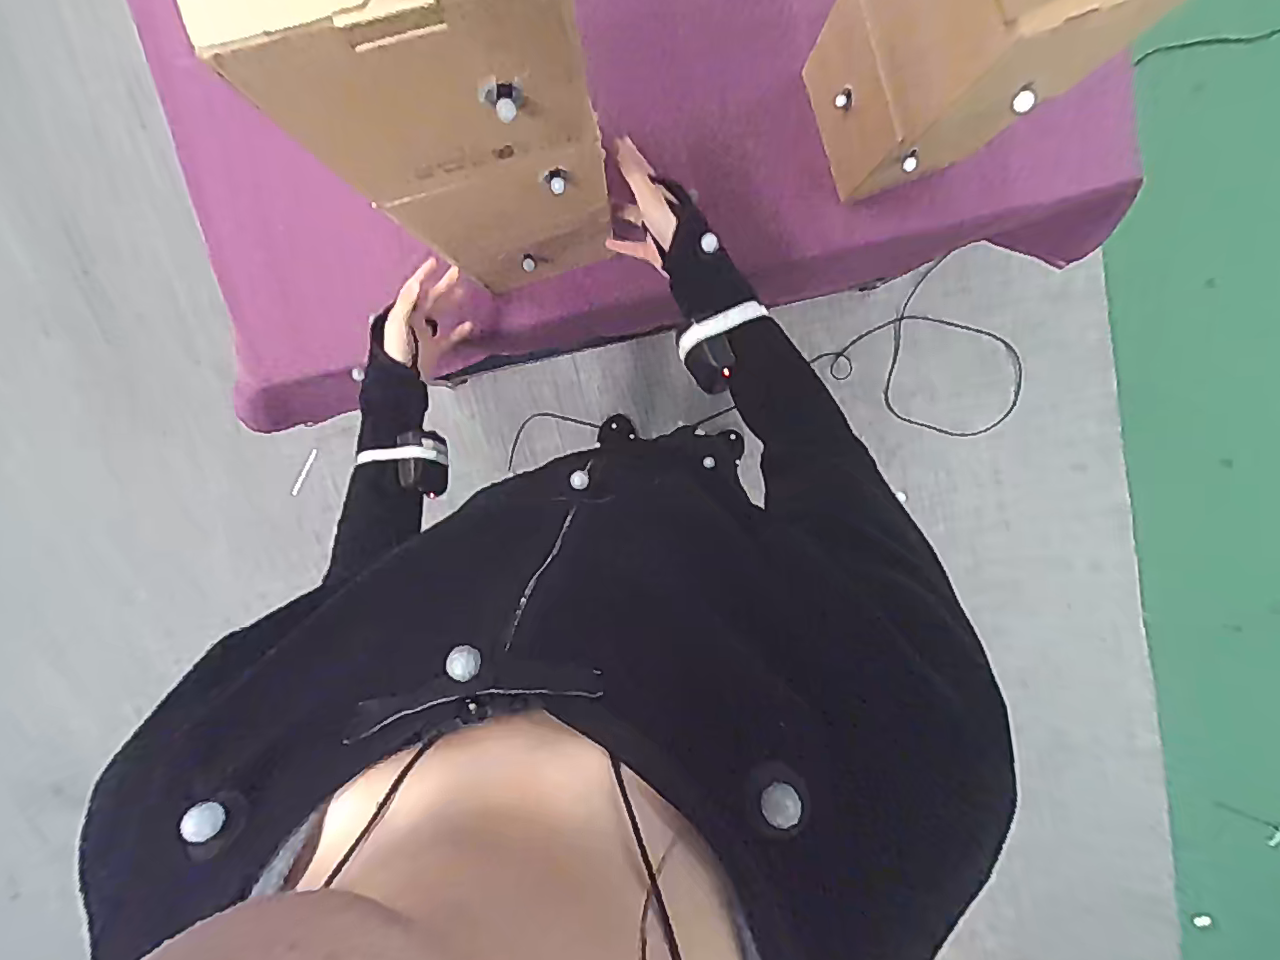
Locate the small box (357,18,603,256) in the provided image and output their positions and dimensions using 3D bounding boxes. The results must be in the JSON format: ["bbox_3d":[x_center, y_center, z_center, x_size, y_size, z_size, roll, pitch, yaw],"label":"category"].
[{"bbox_3d":[-0.138,-0.312,0.461,0.179,0.176,0.168,-16,98,0],"label":"small box"}]

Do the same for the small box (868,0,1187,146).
[{"bbox_3d":[0.311,-0.424,0.447,0.168,0.176,0.179,-19,97,3],"label":"small box"}]

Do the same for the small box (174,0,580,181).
[{"bbox_3d":[-0.134,-0.293,0.299,0.168,0.176,0.179,-13,97,-1],"label":"small box"}]
